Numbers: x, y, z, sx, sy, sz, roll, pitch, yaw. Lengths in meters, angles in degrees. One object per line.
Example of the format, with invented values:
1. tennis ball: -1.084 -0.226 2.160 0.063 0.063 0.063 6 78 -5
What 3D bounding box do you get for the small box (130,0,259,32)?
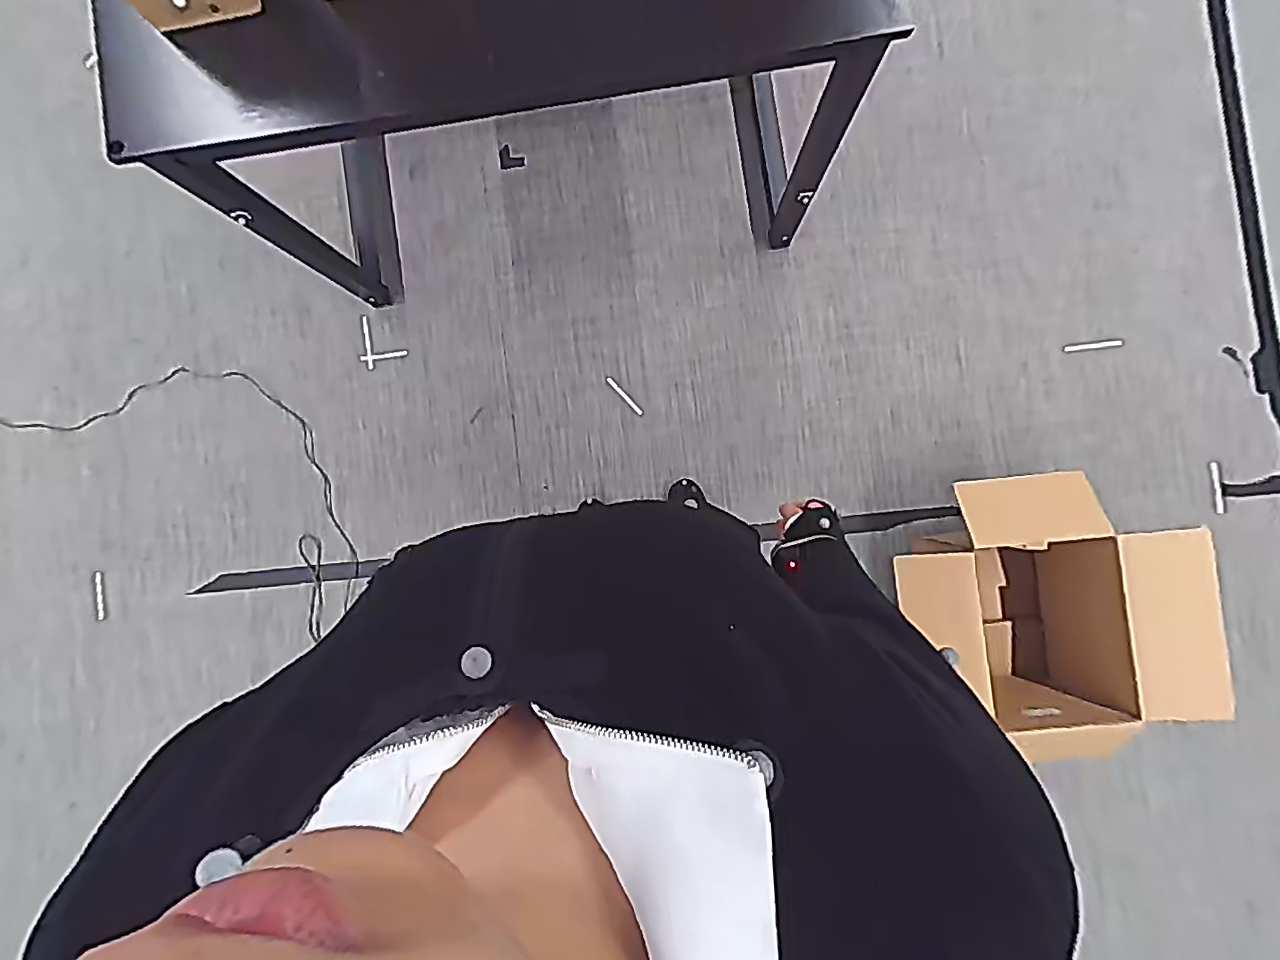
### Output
1. small box: -0.666 -0.775 0.740 0.168 0.176 0.179 -9 90 2
